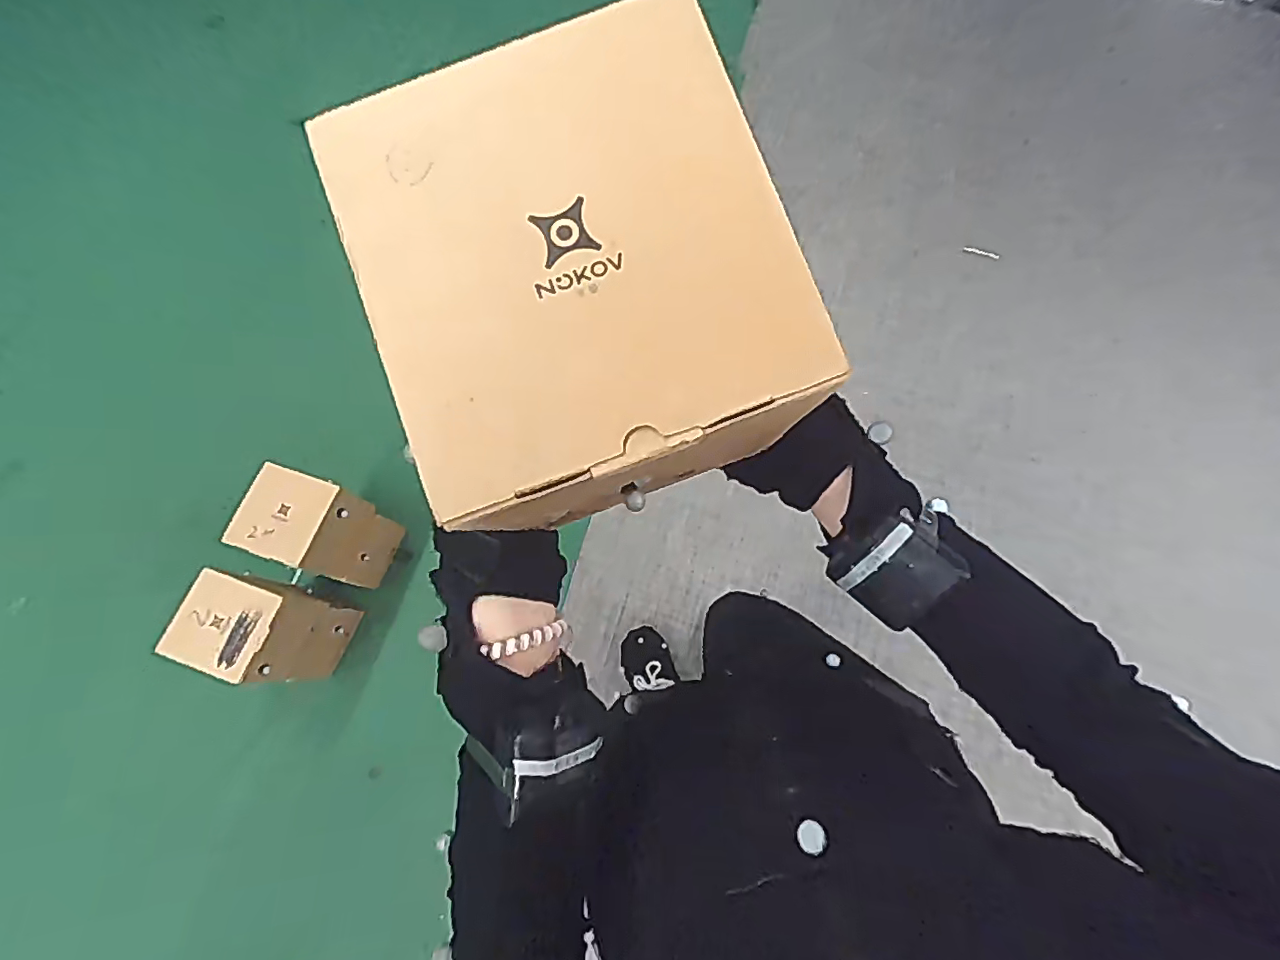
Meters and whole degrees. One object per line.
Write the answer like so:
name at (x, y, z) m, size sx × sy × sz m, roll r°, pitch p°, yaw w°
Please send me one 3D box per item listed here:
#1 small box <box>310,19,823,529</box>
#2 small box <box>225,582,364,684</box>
small box at (-0.031, -0.079, 0.298) m, size 0.168 × 0.176 × 0.179 m, roll -21°, pitch 85°, yaw 0°
small box at (-0.776, 0.347, 1.239) m, size 0.179 × 0.176 × 0.168 m, roll 22°, pitch 74°, yaw 5°
